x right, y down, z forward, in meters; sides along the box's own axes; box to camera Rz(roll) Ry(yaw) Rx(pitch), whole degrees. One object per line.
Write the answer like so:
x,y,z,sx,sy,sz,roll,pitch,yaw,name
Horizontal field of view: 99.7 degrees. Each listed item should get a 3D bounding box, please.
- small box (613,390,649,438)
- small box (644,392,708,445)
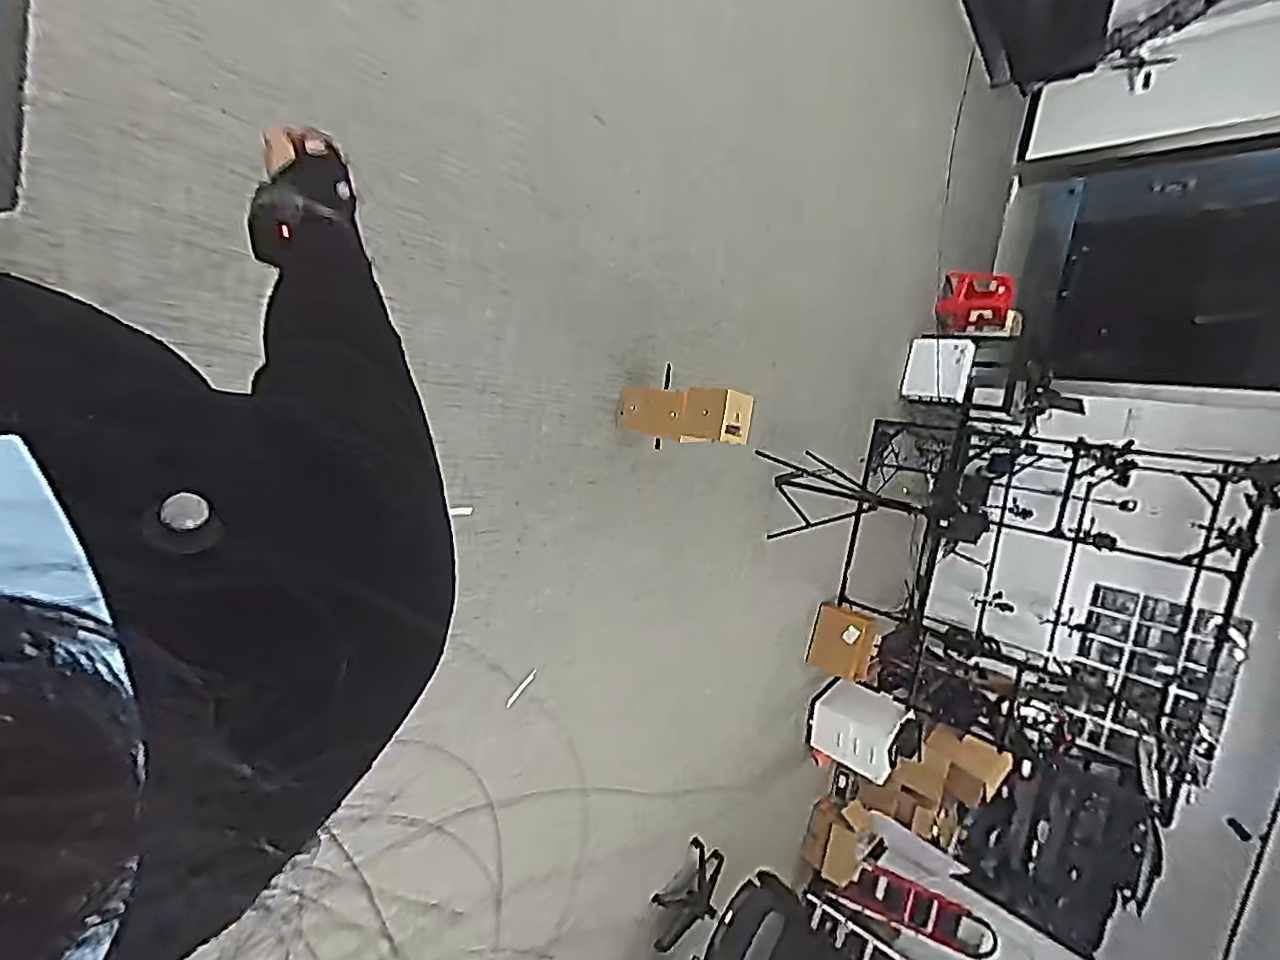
0.018,-0.255,2.121,0.179,0.176,0.168,7,96,-49,small box
0.130,-0.230,2.006,0.168,0.176,0.179,-6,104,-46,small box
